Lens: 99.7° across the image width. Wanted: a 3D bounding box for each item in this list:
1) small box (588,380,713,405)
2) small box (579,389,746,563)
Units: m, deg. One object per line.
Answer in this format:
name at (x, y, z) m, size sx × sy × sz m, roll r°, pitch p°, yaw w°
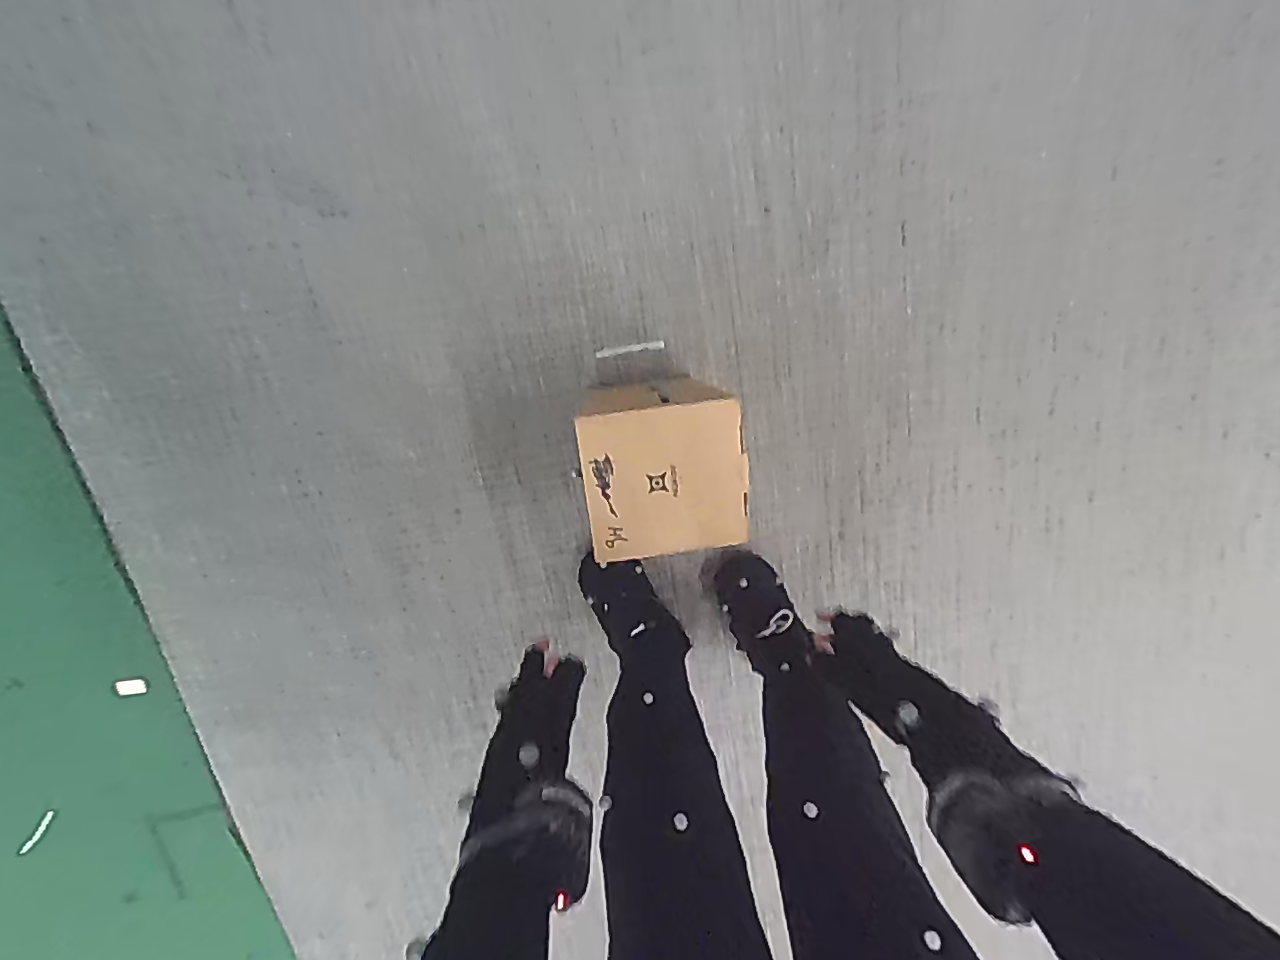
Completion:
small box at (0.017, -0.053, 0.823) m, size 0.179 × 0.176 × 0.168 m, roll -10°, pitch 106°, yaw -2°
small box at (0.022, -0.015, 0.664) m, size 0.179 × 0.176 × 0.168 m, roll -6°, pitch 106°, yaw -2°
